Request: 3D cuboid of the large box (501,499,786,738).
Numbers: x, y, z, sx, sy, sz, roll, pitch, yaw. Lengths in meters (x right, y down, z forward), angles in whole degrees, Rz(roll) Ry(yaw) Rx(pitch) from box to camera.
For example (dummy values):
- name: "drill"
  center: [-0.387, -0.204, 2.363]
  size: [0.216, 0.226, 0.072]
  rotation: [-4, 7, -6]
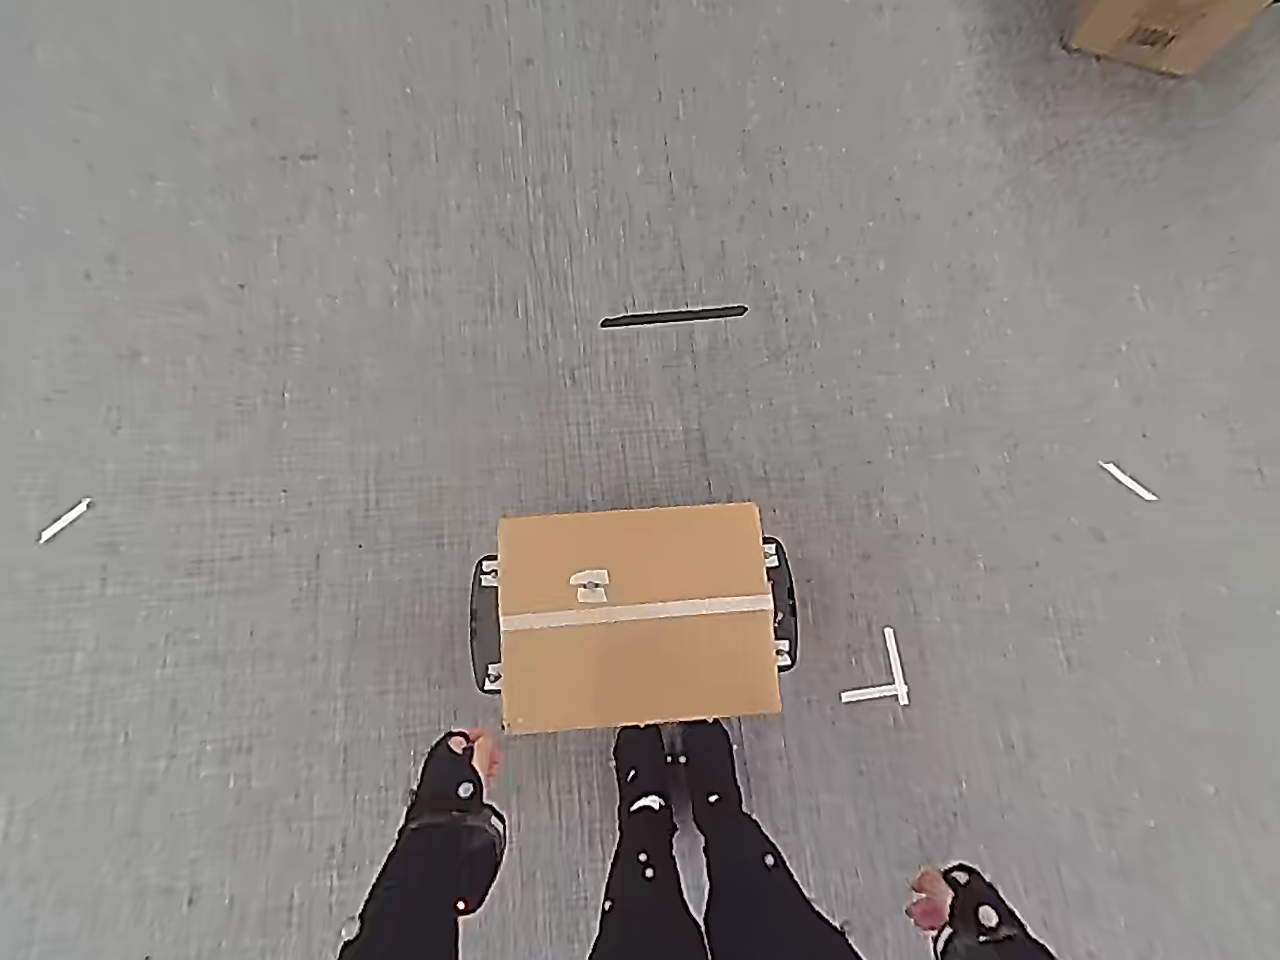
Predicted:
- name: "large box"
  center: [-0.001, 0.225, 0.940]
  size: [0.408, 0.320, 0.320]
  rotation: [-4, 78, -2]

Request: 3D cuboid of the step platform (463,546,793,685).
- name: "step platform"
  center: [-0.024, 0.292, 1.169]
  size: [0.684, 0.204, 0.286]
  rotation: [1, 78, -1]
